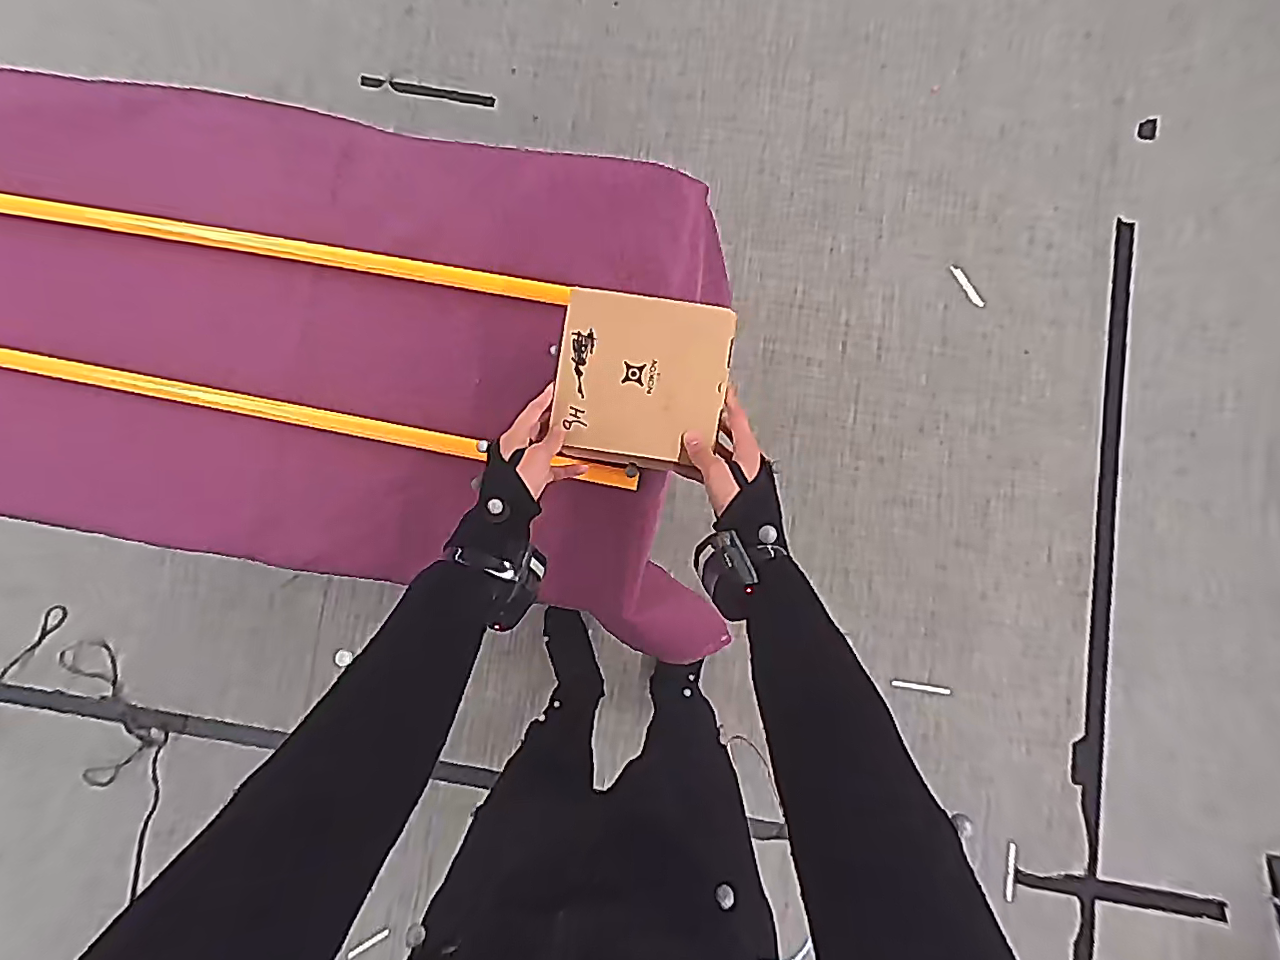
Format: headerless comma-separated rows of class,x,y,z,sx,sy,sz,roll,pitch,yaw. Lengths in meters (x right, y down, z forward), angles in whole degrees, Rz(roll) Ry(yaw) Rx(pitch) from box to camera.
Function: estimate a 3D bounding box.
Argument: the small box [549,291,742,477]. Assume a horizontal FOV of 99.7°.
small box,0.005,-0.097,0.628,0.179,0.176,0.168,9,88,0
